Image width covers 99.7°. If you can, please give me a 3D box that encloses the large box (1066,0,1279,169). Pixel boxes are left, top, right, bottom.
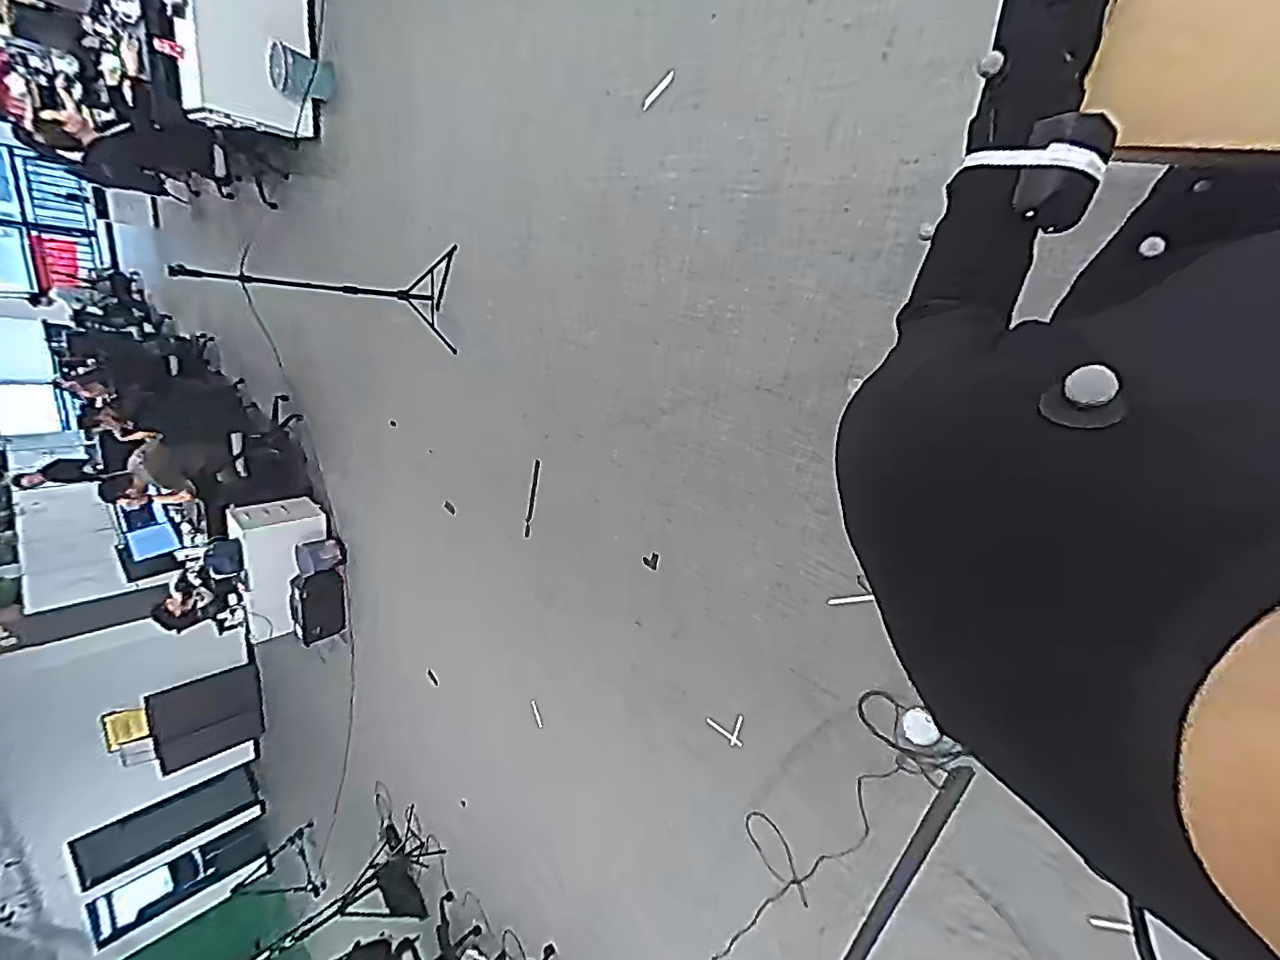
[{"bbox_3d":[0.580,-0.382,0.349,0.408,0.320,0.320,24,127,30],"label":"large box"}]
